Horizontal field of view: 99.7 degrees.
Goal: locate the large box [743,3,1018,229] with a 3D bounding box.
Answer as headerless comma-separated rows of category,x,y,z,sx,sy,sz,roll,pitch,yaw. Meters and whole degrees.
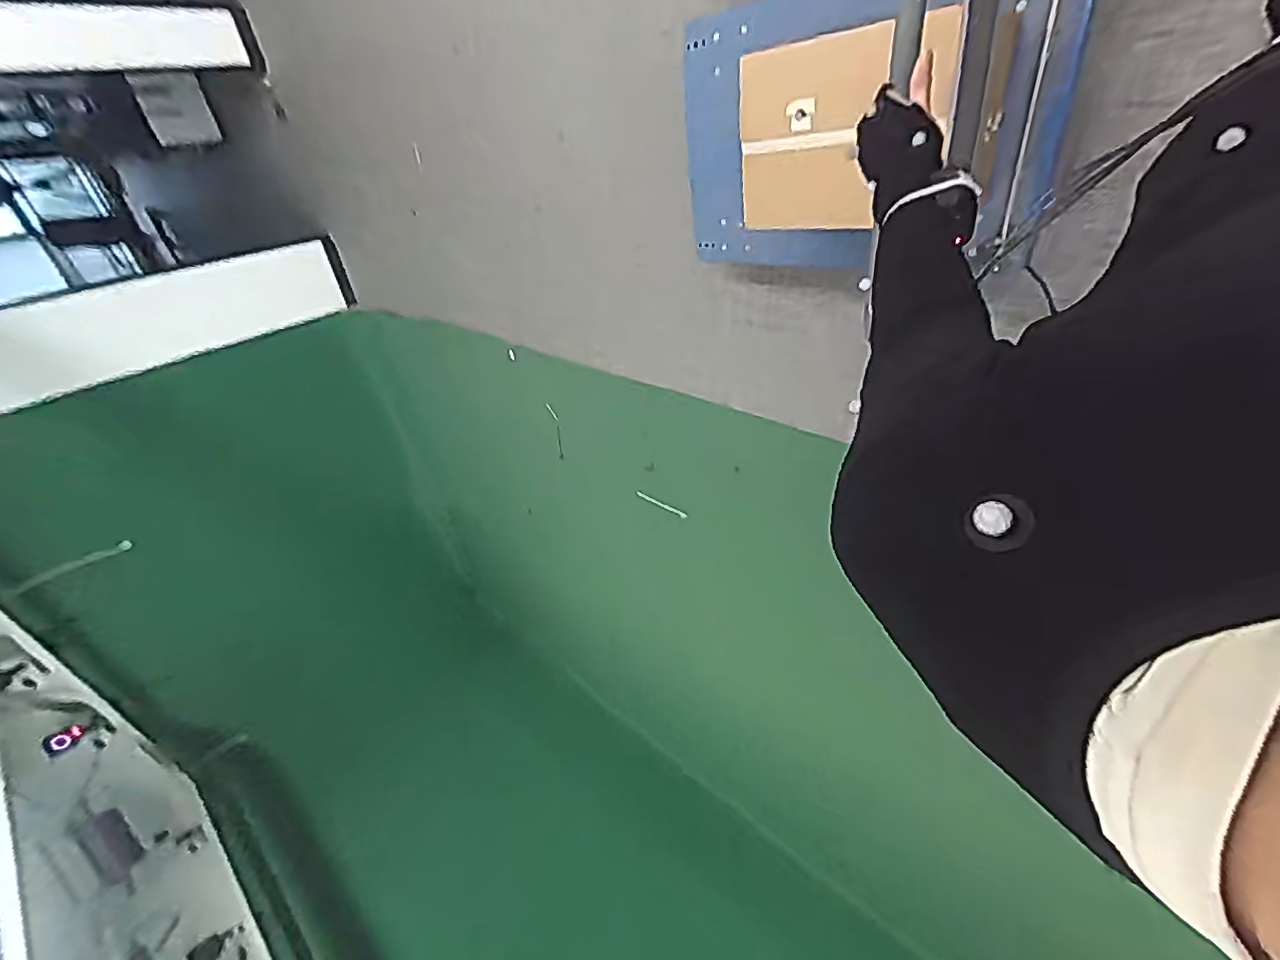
large box,0.466,-0.707,1.091,0.408,0.320,0.320,21,132,38
